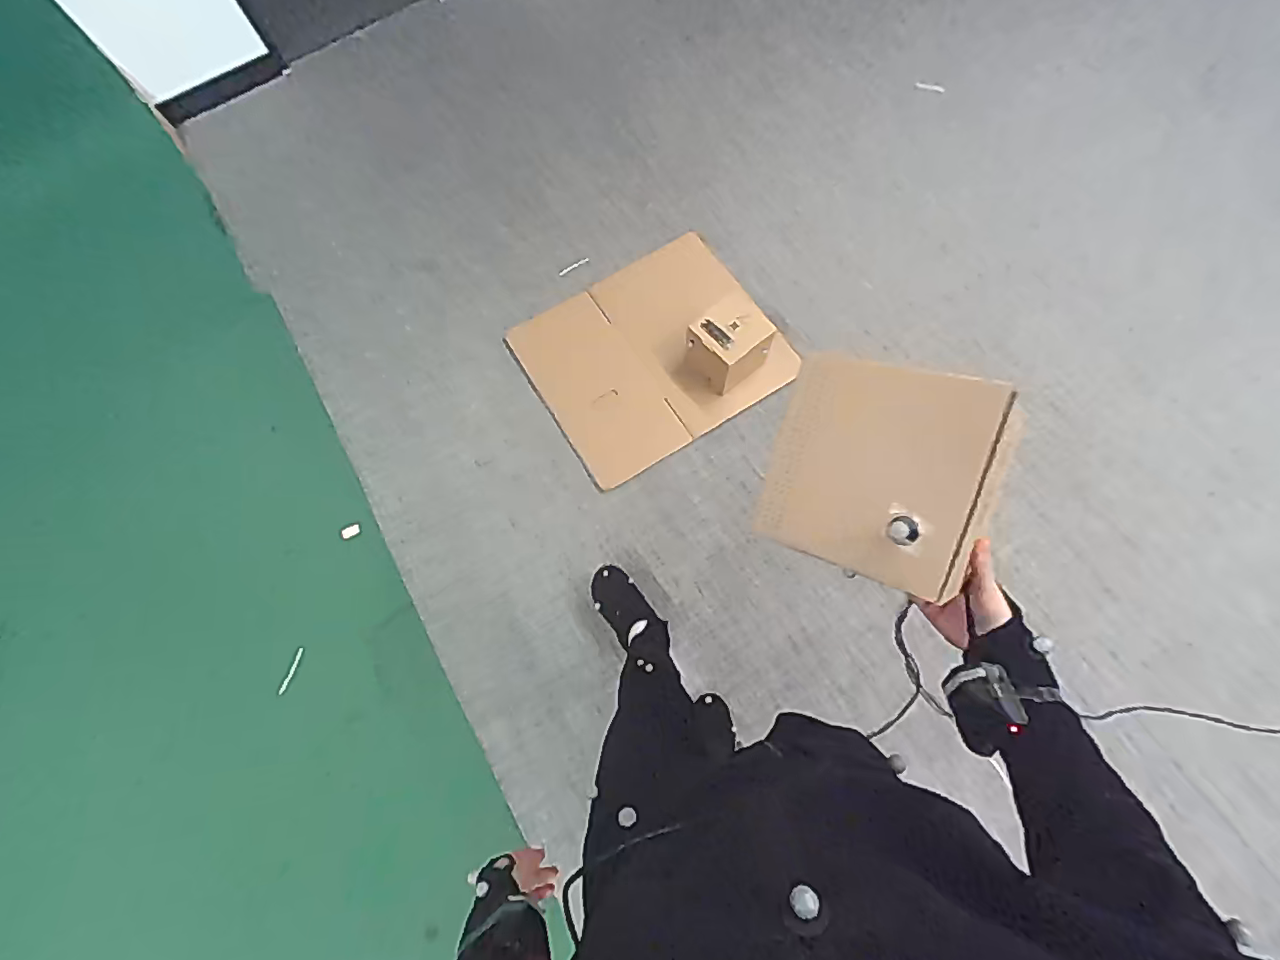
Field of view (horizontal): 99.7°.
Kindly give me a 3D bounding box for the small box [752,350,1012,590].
[{"bbox_3d":[0.227,-0.010,0.517,0.176,0.168,0.179,19,95,36],"label":"small box"}]
